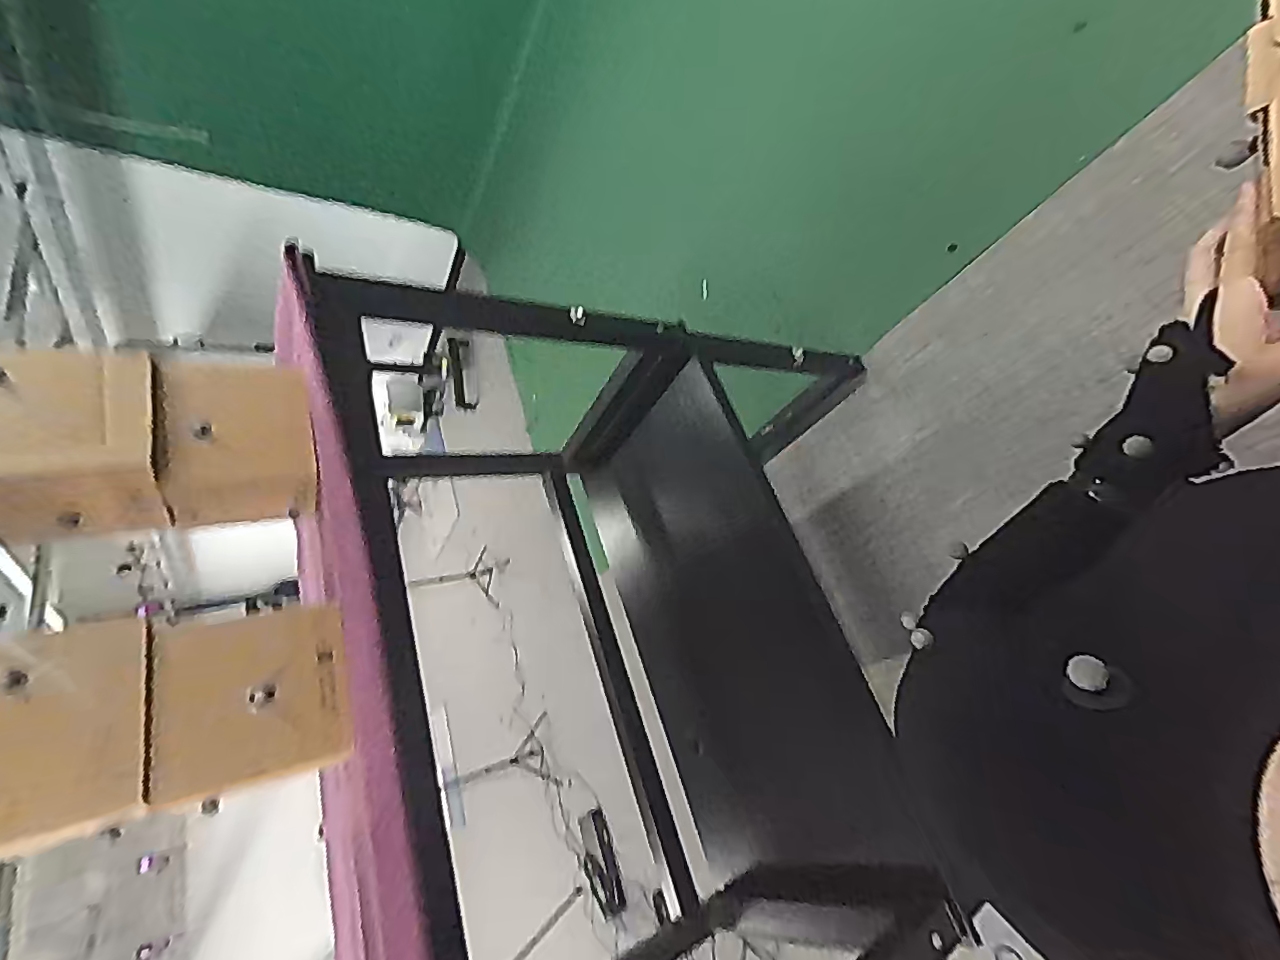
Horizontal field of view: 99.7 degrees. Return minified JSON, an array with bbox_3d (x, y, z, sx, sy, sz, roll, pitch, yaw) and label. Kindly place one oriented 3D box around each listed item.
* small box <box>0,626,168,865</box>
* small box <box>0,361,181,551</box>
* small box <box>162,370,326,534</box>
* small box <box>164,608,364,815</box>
[{"bbox_3d":[-0.549,0.250,0.515,0.168,0.176,0.179,-44,59,47],"label":"small box"},{"bbox_3d":[-0.680,-0.033,0.668,0.168,0.176,0.179,-45,58,48],"label":"small box"},{"bbox_3d":[-0.555,-0.040,0.773,0.168,0.176,0.179,-40,62,50],"label":"small box"},{"bbox_3d":[-0.420,0.257,0.615,0.179,0.176,0.168,-43,58,47],"label":"small box"}]
